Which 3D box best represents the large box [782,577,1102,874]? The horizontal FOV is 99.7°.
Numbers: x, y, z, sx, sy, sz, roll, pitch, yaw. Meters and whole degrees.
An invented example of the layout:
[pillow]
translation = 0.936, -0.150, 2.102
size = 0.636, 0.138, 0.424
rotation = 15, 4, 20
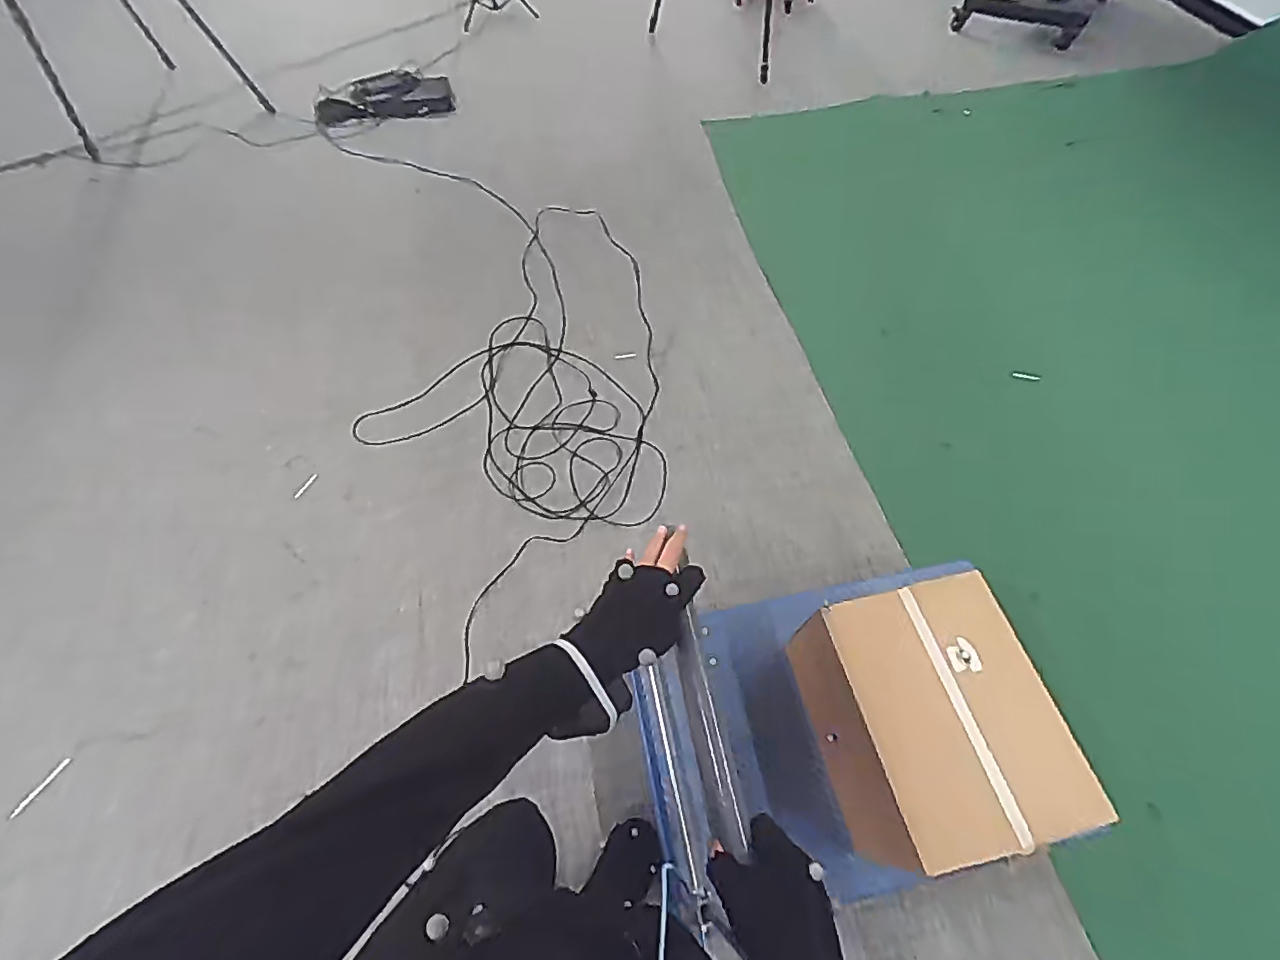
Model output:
[large box]
translation = 0.509, 0.453, 1.022
size = 0.320, 0.320, 0.408
rotation = -11, 60, -6
